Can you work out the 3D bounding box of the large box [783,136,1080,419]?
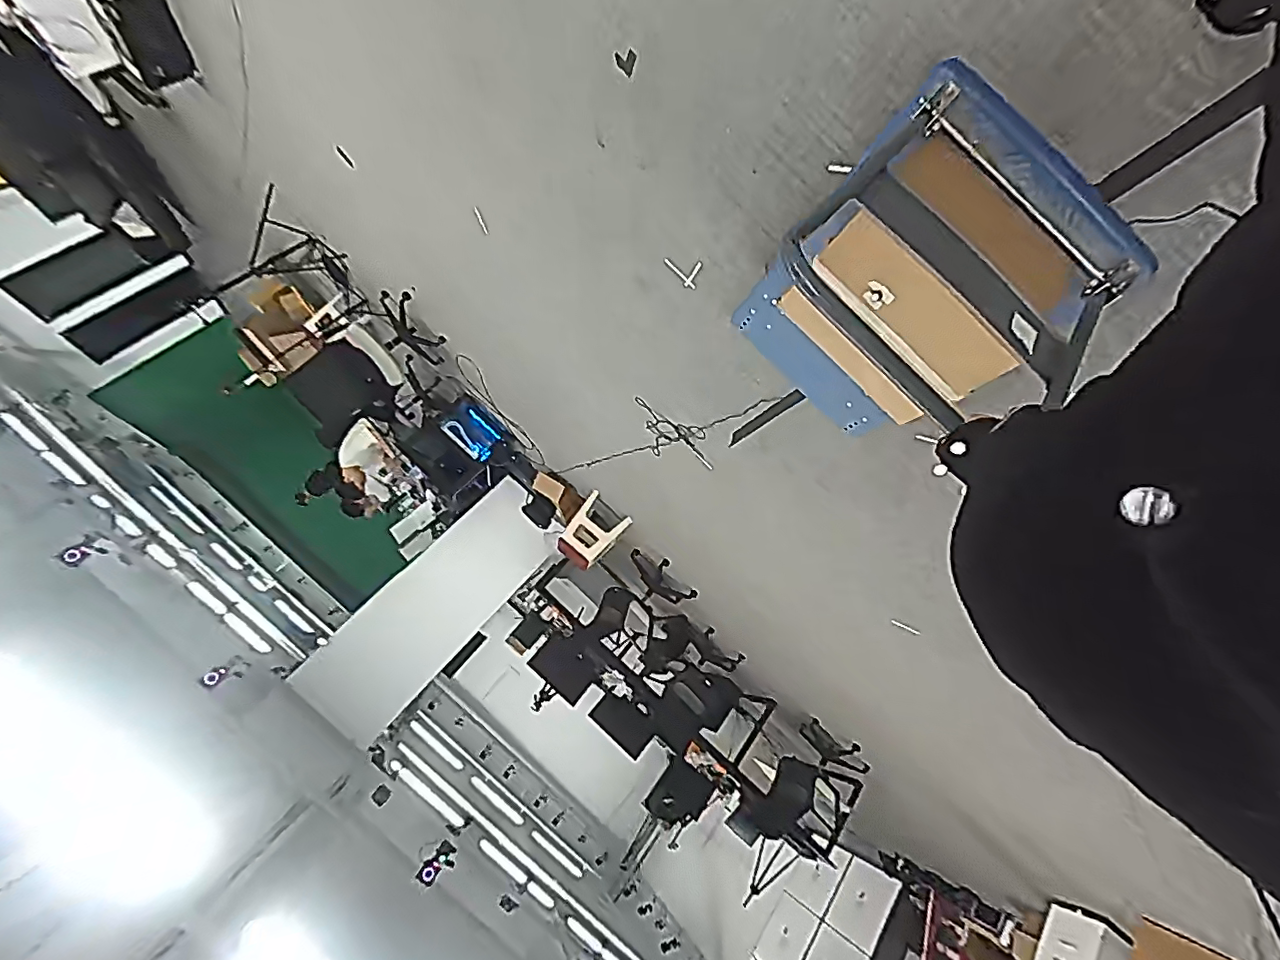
[{"bbox_3d":[0.604,-0.413,1.151,0.408,0.320,0.320,44,155,-1],"label":"large box"}]
